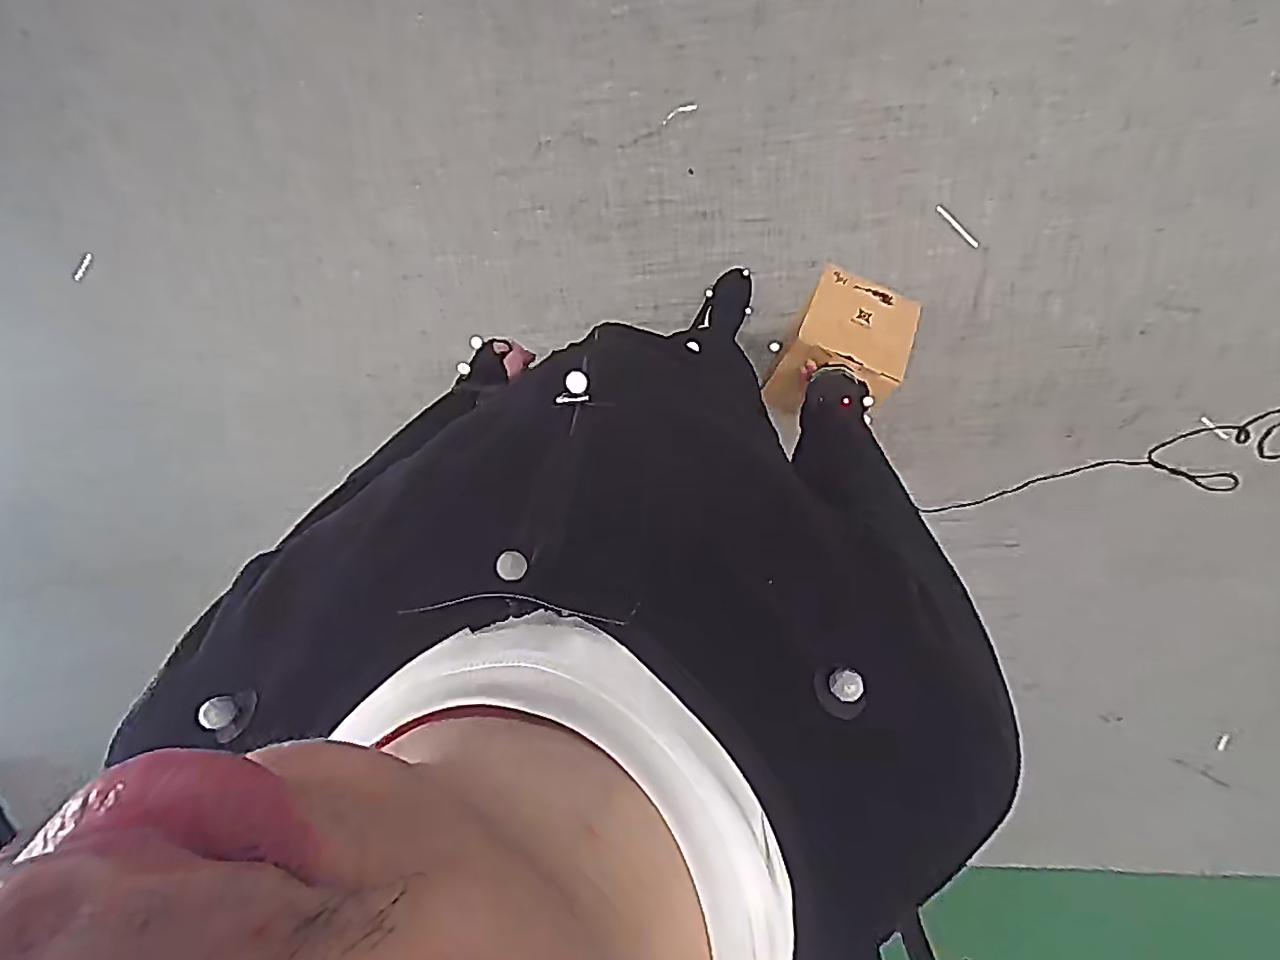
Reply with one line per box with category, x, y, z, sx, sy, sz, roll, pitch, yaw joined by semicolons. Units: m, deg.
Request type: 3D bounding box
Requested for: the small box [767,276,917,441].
small box;0.326;-0.194;0.898;0.168;0.179;0.176;23;152;4
